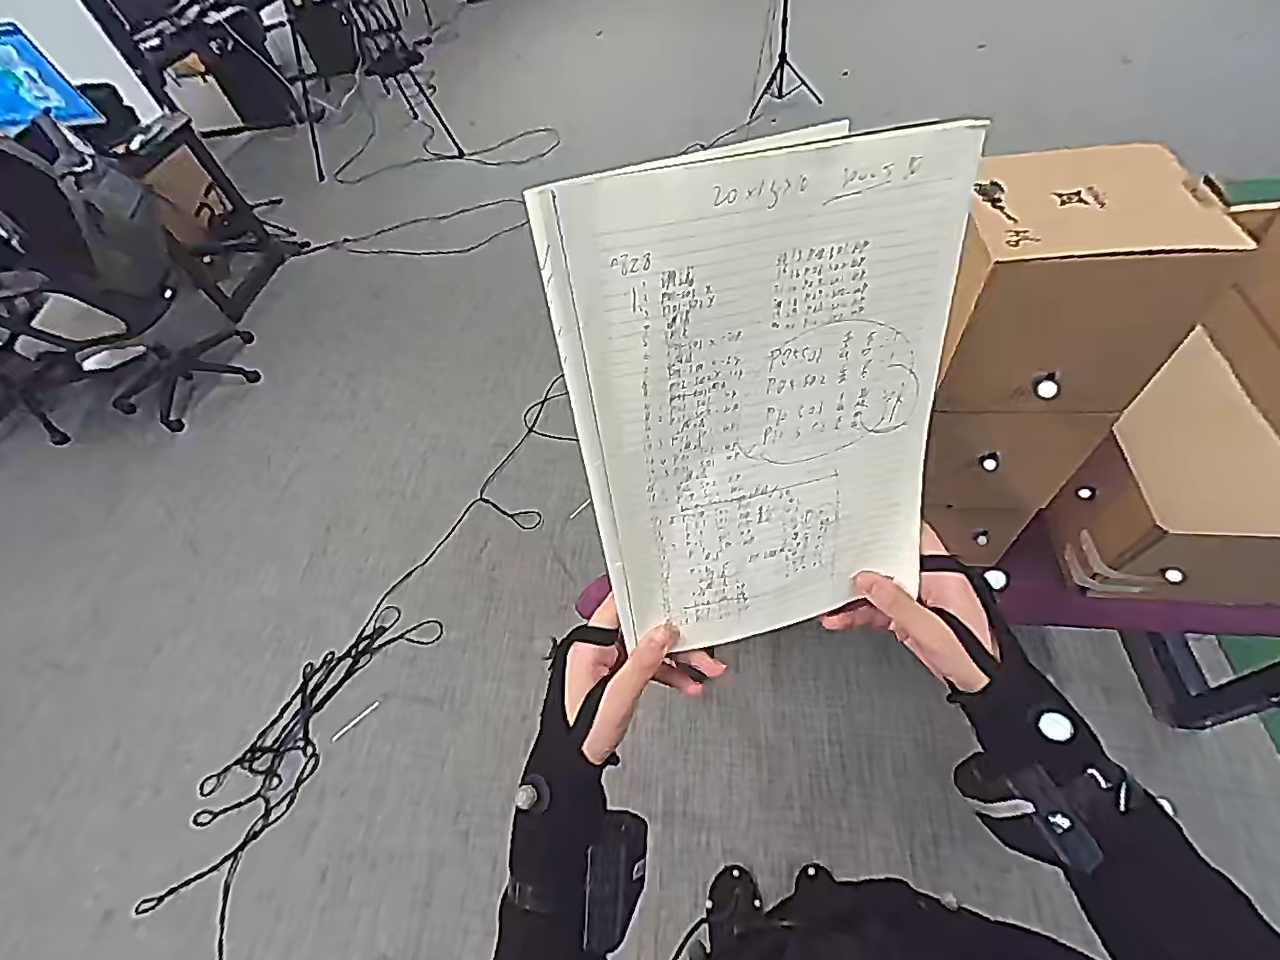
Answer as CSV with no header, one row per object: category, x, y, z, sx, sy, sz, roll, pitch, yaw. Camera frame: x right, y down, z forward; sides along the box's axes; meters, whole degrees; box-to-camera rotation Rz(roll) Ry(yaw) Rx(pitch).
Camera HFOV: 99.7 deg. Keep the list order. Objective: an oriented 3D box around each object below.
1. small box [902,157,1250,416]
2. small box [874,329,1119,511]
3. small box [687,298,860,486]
small box,0.370,-0.174,0.508,0.179,0.176,0.168,2,52,10
small box,0.394,-0.075,0.638,0.179,0.176,0.168,1,53,11
small box,0.173,-0.111,0.707,0.179,0.176,0.168,11,56,19
